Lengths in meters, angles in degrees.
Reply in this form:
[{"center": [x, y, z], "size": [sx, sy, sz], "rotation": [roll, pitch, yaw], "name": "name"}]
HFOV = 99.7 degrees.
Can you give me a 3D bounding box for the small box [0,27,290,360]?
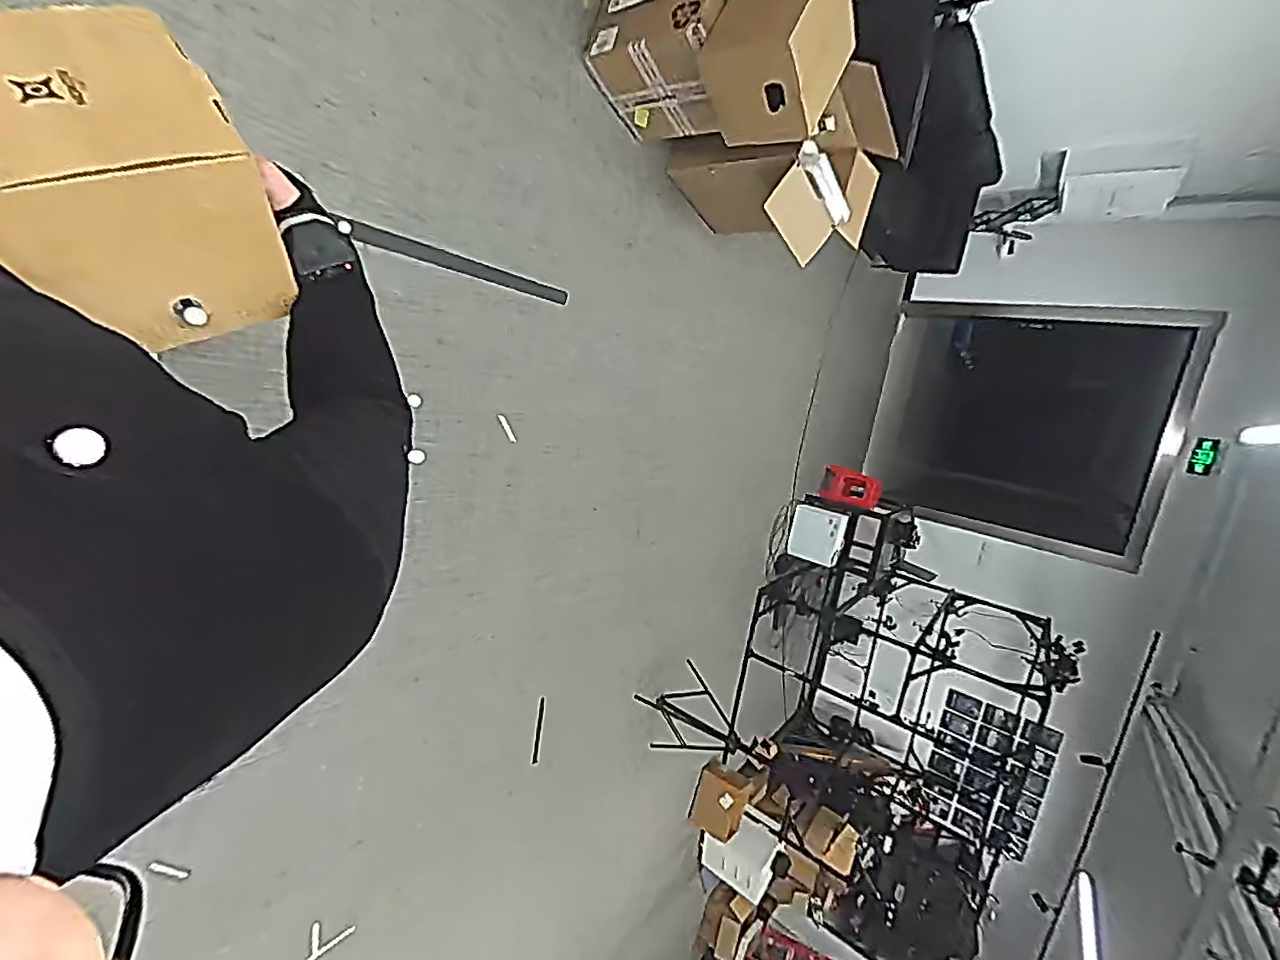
[{"center": [-0.427, -0.233, 0.454], "size": [0.179, 0.168, 0.176], "rotation": [-31, 167, -29], "name": "small box"}]
